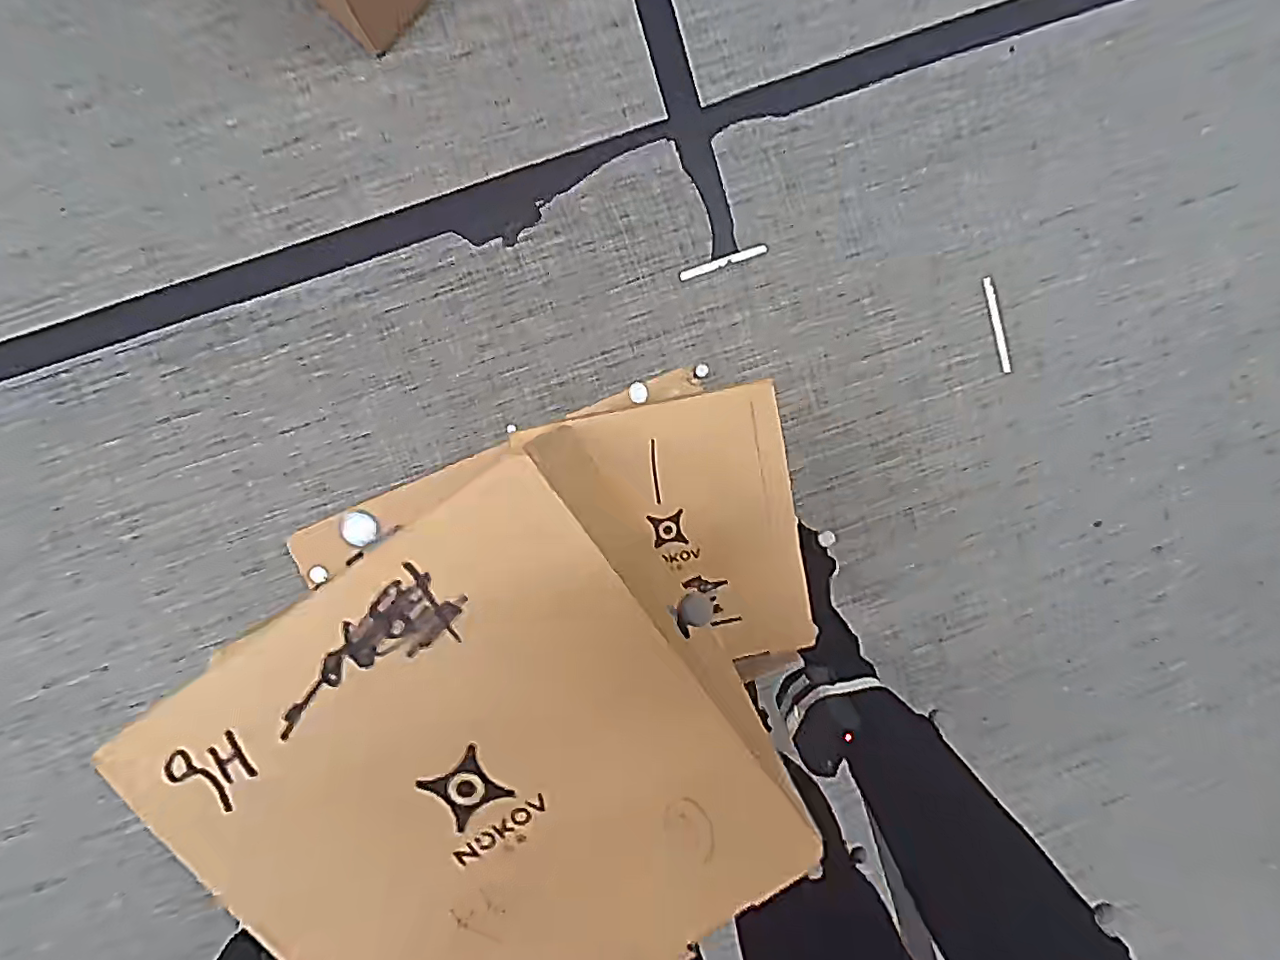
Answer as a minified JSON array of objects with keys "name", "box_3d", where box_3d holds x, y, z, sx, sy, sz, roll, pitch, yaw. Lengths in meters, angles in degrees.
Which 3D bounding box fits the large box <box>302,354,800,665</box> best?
[{"name":"large box","box_3d":[-0.088,0.083,0.670,0.408,0.320,0.320,-24,99,-2]}]

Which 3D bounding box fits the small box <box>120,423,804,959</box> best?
[{"name":"small box","box_3d":[-0.058,0.086,0.262,0.168,0.176,0.179,-35,99,1]}]
